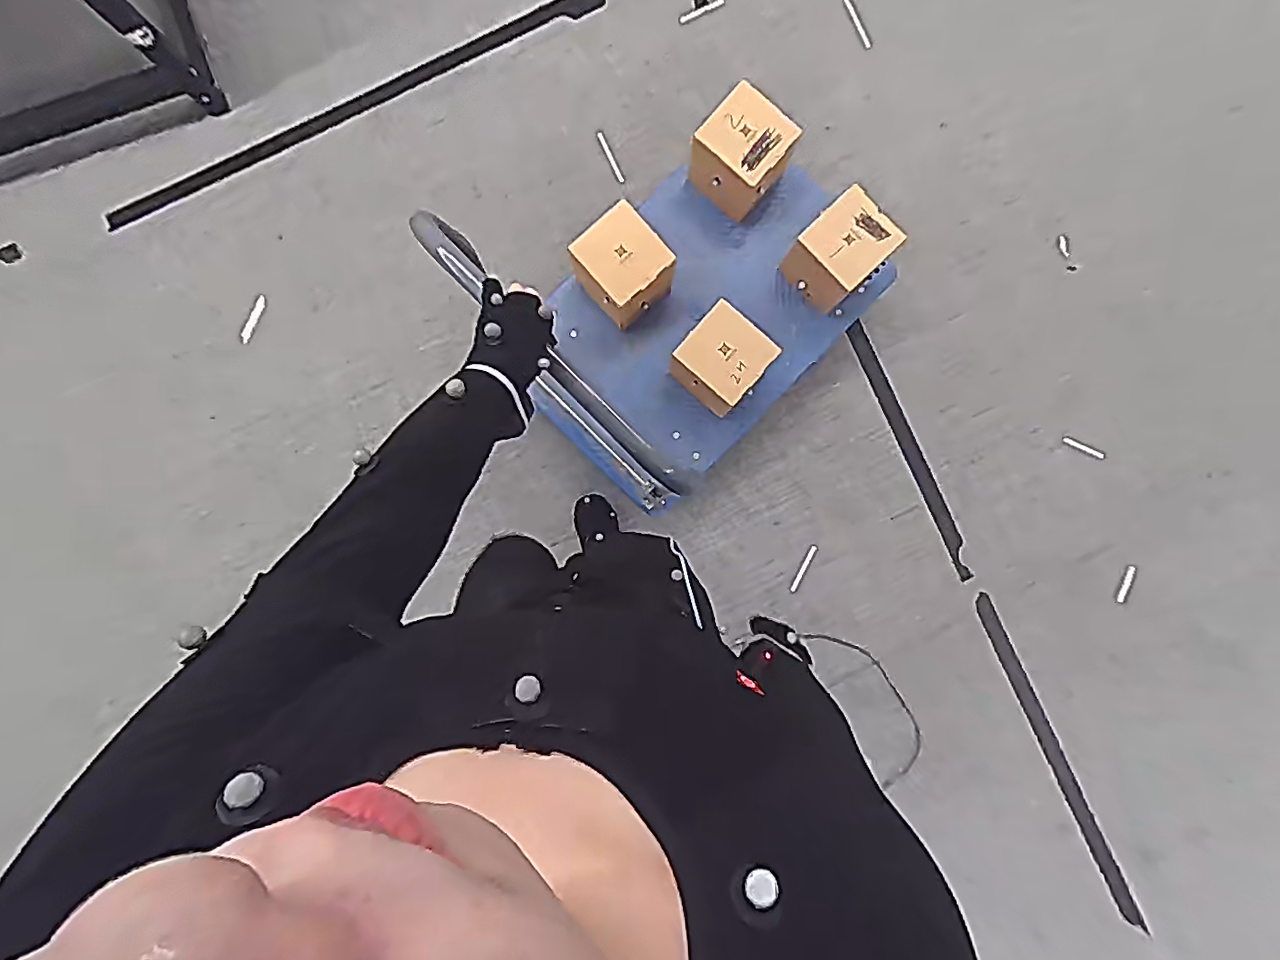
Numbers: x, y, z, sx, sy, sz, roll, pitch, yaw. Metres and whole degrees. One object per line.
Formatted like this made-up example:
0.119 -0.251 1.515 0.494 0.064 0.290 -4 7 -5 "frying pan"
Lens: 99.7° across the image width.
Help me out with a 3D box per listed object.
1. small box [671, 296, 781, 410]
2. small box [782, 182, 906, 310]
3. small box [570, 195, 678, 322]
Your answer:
0.185 -0.278 1.234 0.179 0.176 0.168 42 89 0 "small box"
0.456 -0.526 1.241 0.179 0.176 0.168 -43 90 0 "small box"
-0.038 -0.494 1.235 0.168 0.176 0.179 -42 92 -1 "small box"
